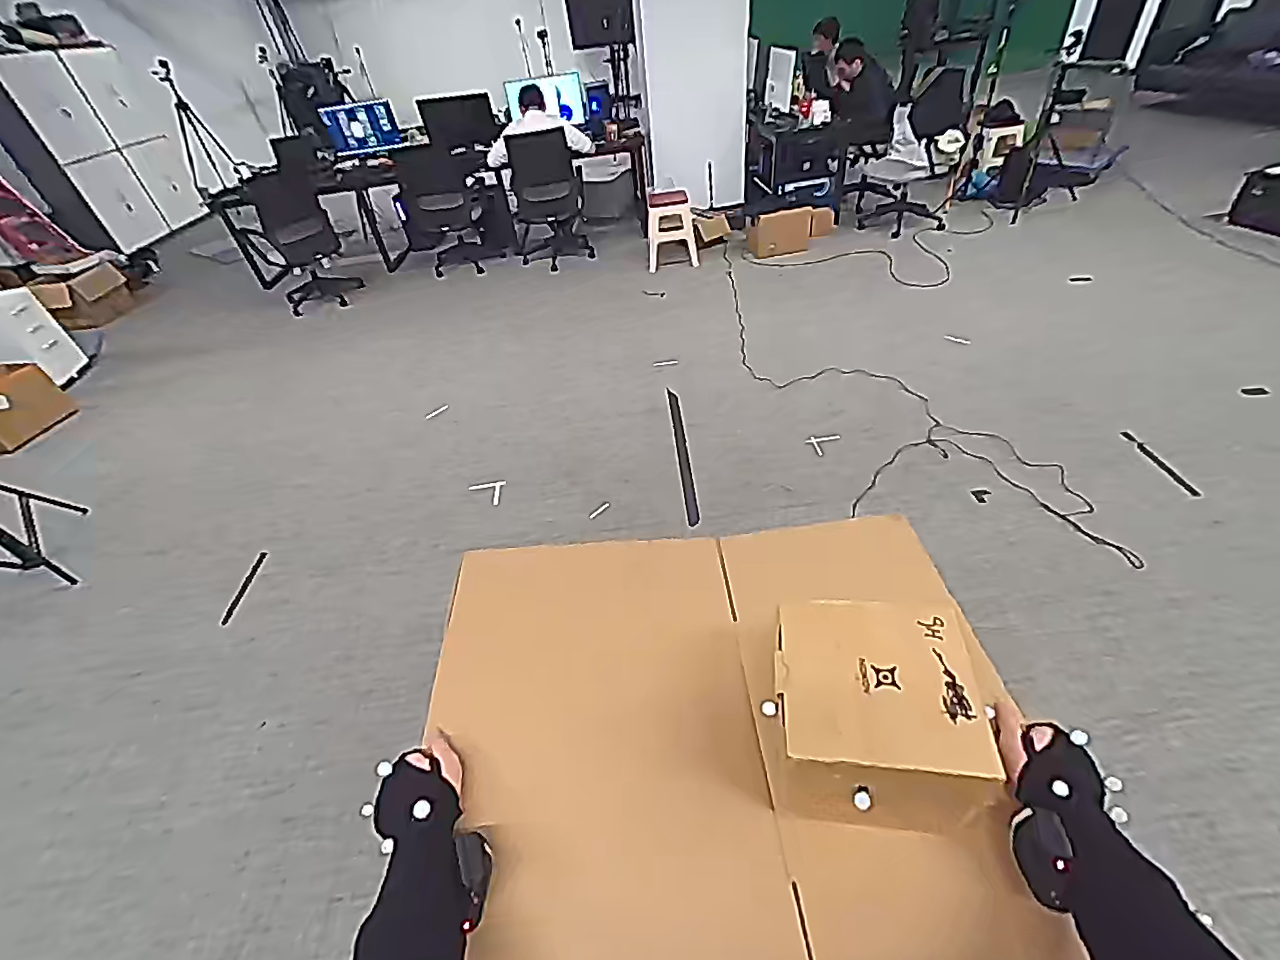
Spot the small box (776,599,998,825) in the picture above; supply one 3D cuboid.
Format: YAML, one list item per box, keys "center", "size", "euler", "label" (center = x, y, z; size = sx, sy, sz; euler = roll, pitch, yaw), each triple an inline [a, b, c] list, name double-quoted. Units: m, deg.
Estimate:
- center: [0.238, 0.244, 0.573]
  size: [0.179, 0.176, 0.168]
  euler: [-1, 44, 13]
  label: "small box"
